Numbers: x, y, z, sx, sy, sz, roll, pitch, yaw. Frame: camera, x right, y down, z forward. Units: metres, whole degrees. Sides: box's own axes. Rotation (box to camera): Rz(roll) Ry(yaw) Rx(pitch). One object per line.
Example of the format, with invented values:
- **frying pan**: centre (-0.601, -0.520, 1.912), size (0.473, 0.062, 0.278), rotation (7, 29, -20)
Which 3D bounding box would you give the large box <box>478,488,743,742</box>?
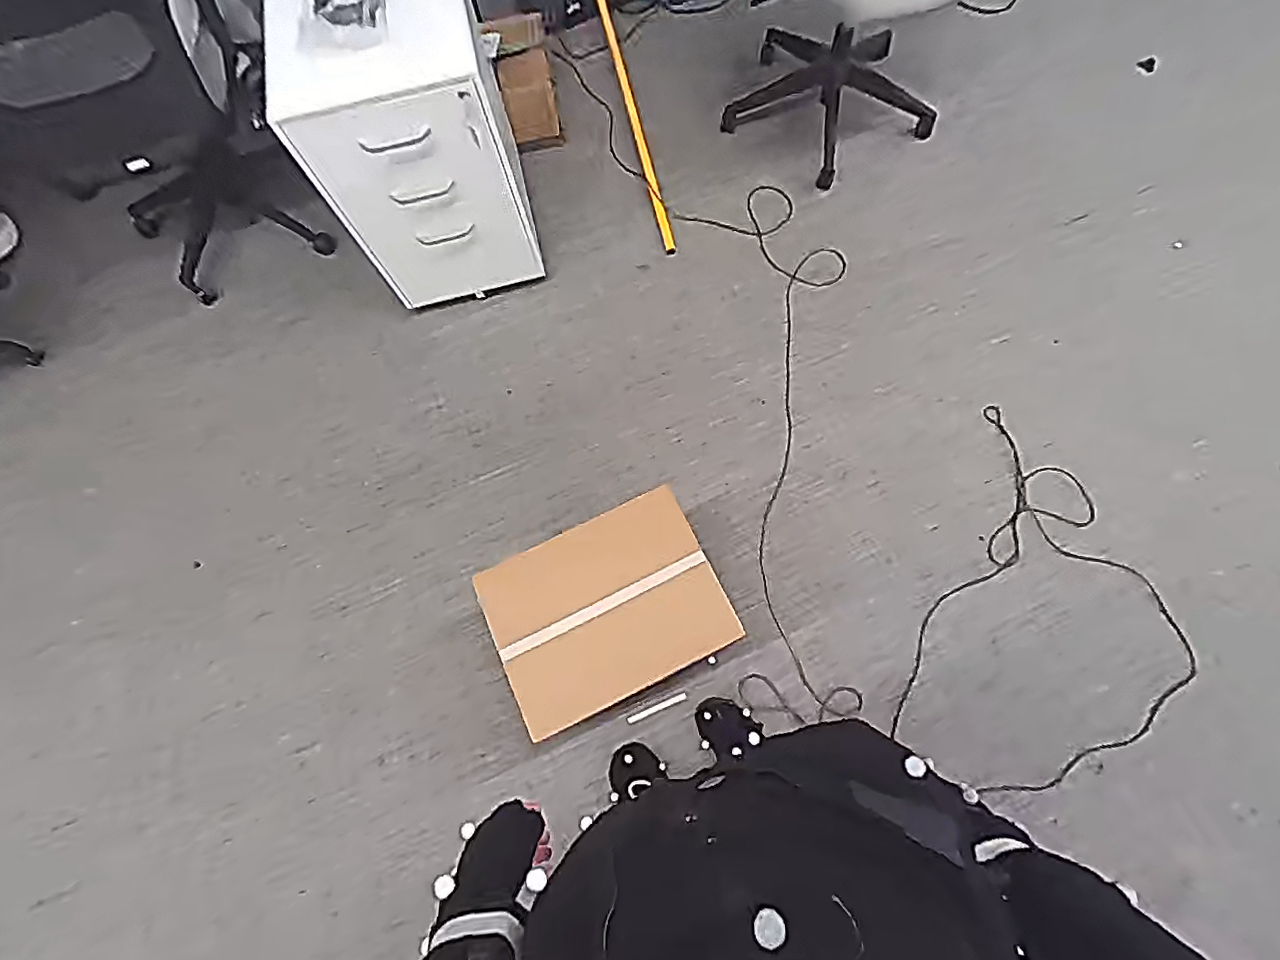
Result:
- **large box**: centre (-0.050, 0.273, 1.112), size (0.408, 0.320, 0.320), rotation (-26, 71, -5)
